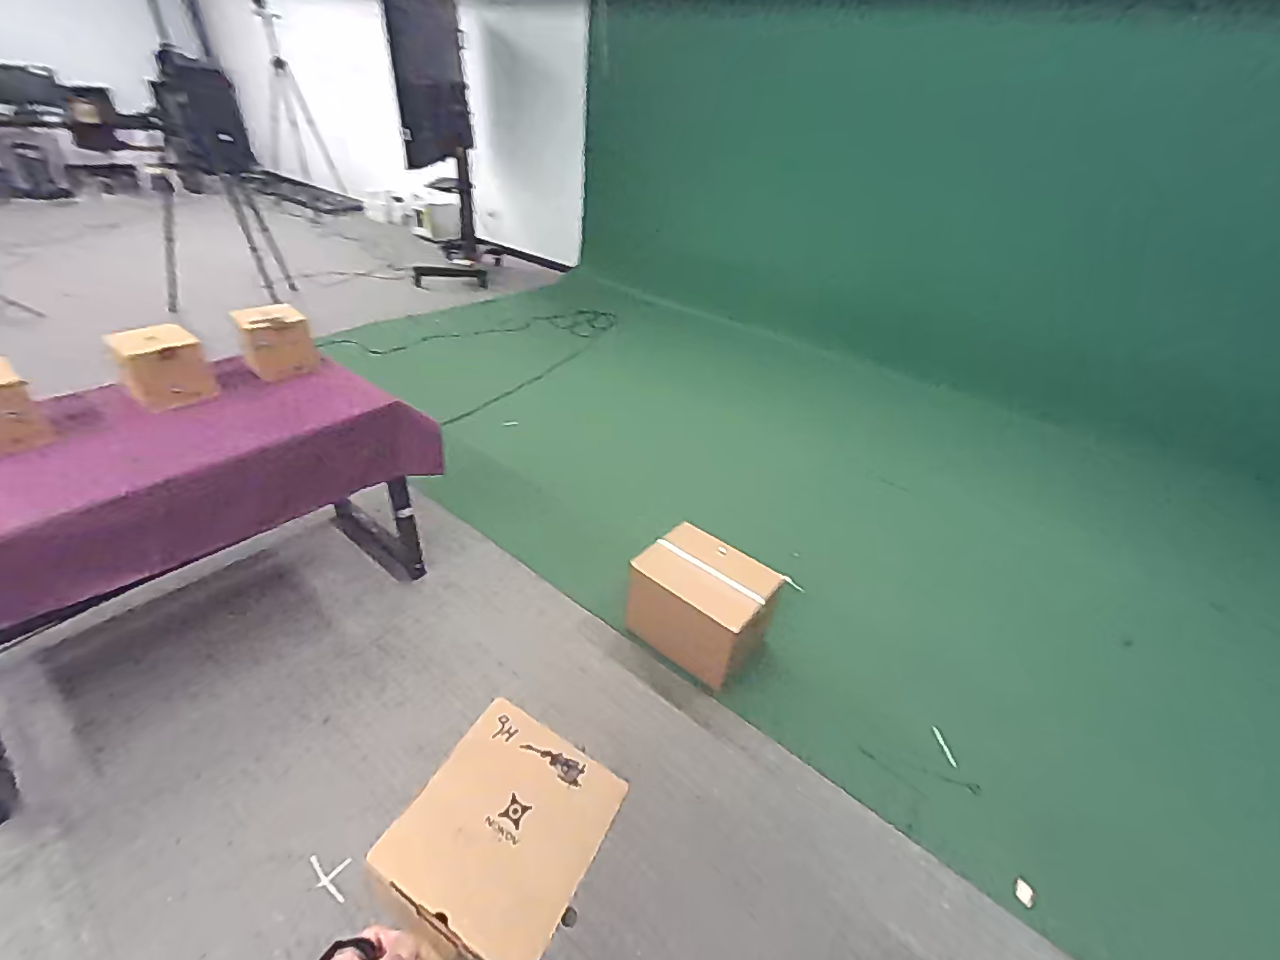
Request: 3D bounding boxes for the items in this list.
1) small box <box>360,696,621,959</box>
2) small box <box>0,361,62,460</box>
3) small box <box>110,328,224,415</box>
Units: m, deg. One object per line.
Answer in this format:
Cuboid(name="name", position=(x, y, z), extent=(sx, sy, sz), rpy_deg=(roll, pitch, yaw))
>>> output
Cuboid(name="small box", position=(-0.140, 0.366, 0.544), extent=(0.168, 0.176, 0.179), rpy_deg=(27, 42, 14))
Cuboid(name="small box", position=(-1.516, -0.154, 1.264), extent=(0.179, 0.176, 0.168), rpy_deg=(28, 40, 29))
Cuboid(name="small box", position=(-1.306, -0.302, 1.501), extent=(0.179, 0.176, 0.168), rpy_deg=(27, 41, 26))
